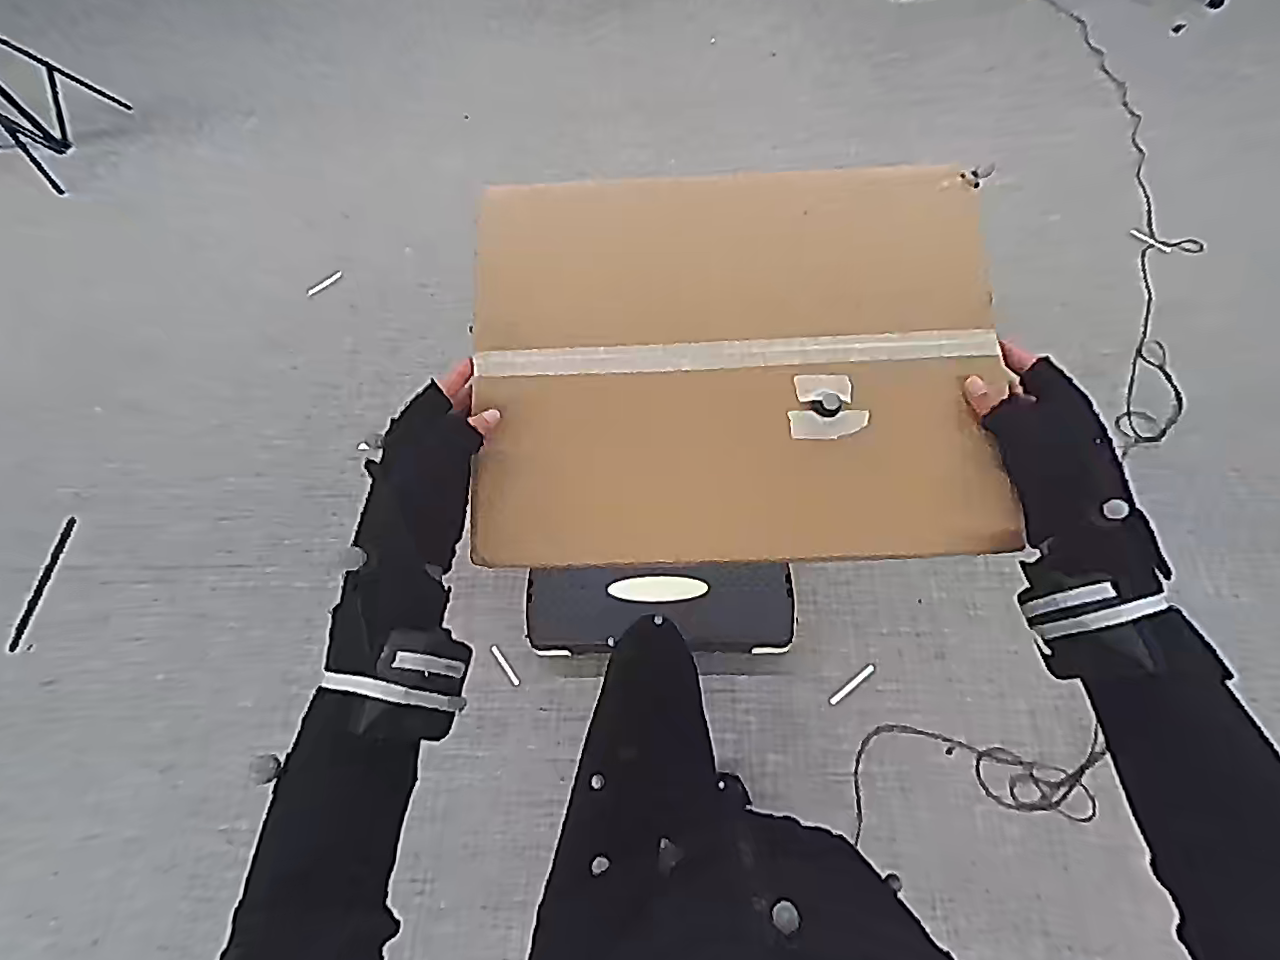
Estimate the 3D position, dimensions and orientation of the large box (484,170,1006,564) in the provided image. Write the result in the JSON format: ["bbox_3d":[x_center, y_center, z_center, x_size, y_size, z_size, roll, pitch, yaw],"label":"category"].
[{"bbox_3d":[0.074,-0.077,0.580,0.408,0.320,0.320,-2,82,1],"label":"large box"}]
